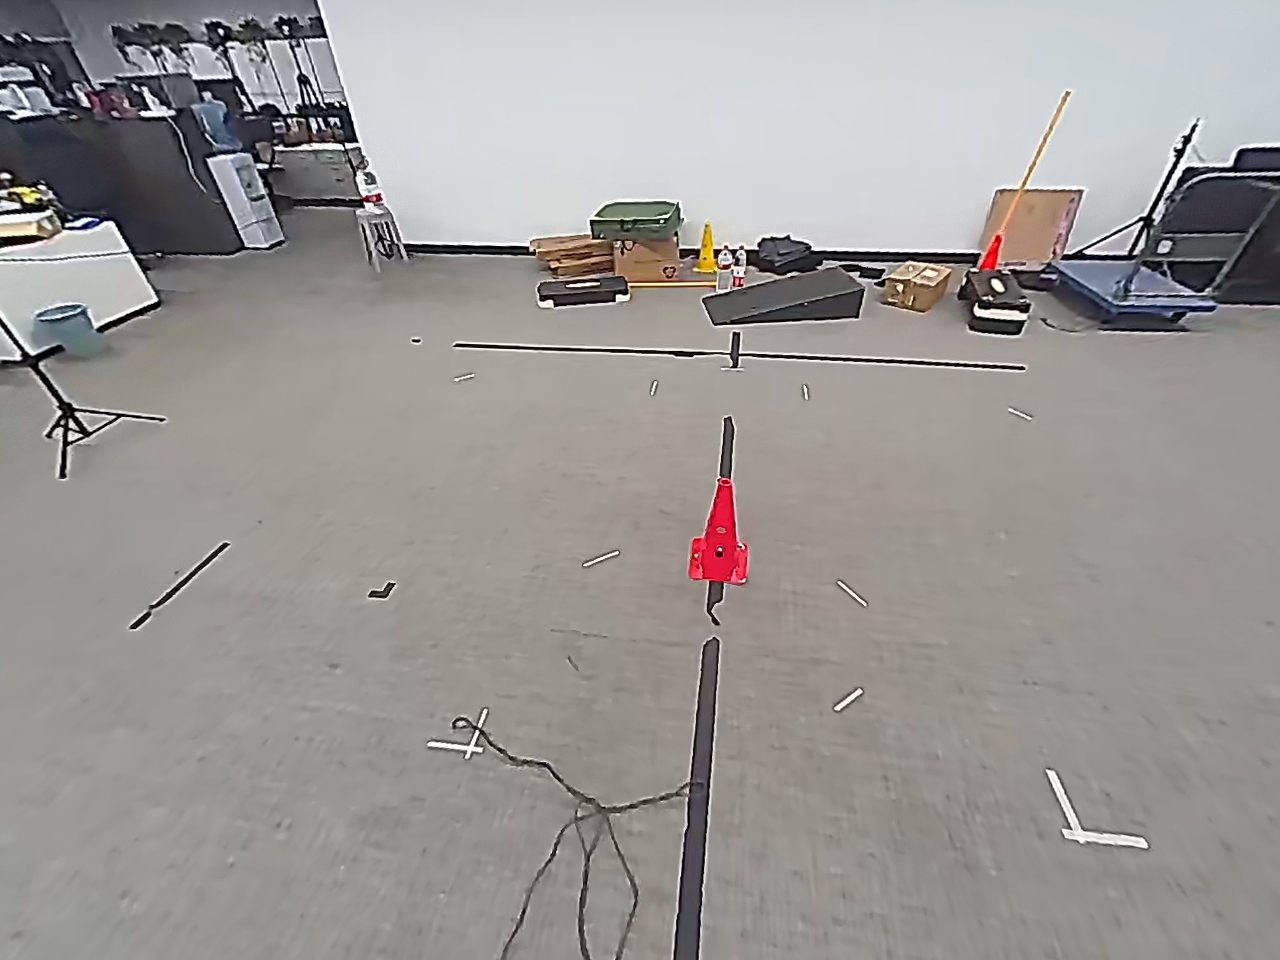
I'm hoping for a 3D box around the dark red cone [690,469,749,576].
[{"bbox_3d":[0.272,0.127,1.795,0.201,0.394,0.202,4,39,8],"label":"dark red cone"}]
